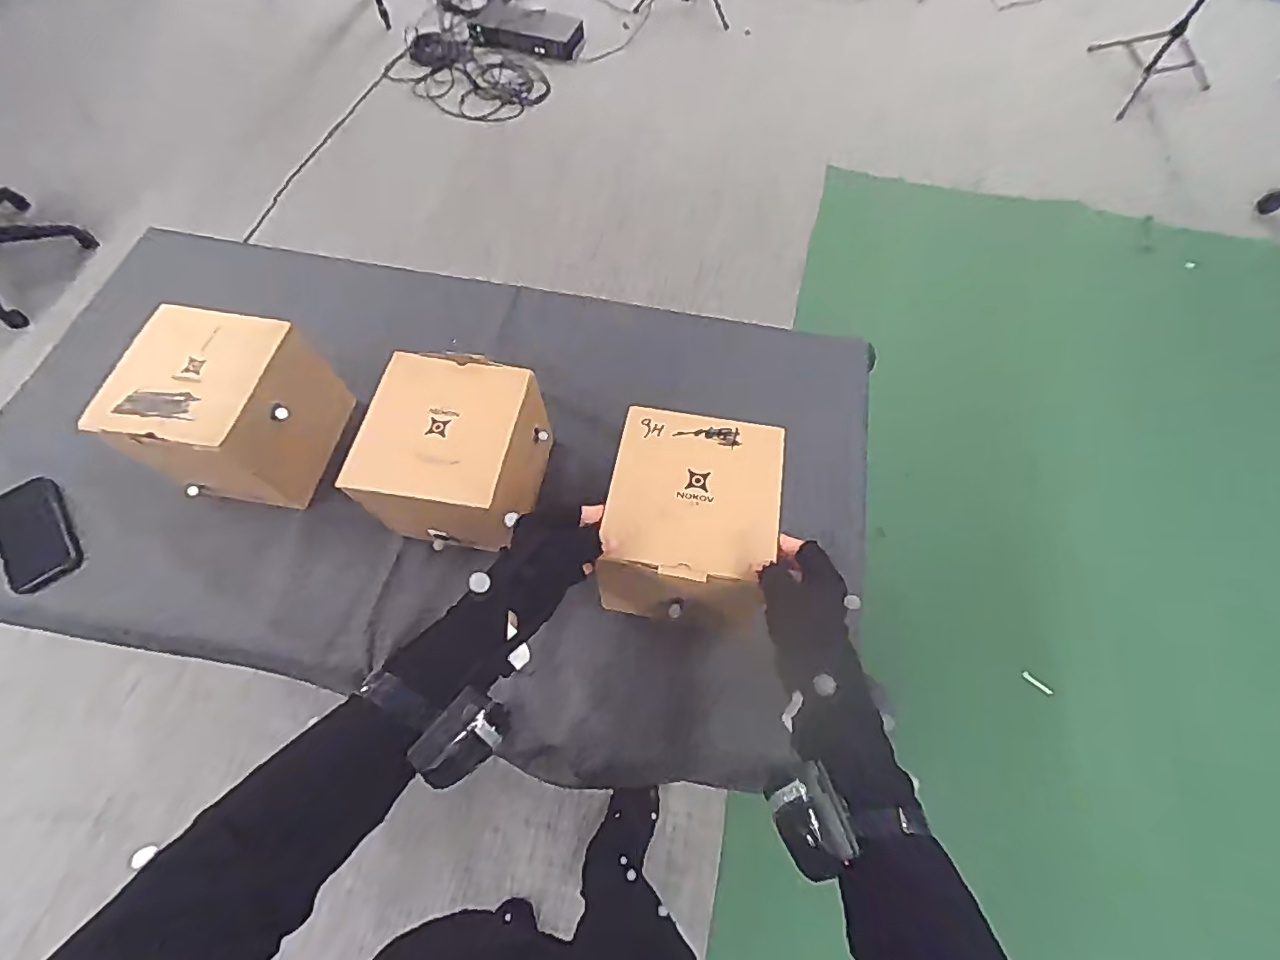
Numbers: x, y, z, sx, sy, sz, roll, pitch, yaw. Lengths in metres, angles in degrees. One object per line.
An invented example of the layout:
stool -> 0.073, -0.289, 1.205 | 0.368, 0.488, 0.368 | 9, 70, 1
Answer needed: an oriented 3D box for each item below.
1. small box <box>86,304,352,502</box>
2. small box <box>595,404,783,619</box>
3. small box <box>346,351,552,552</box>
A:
small box -> -0.501, -0.088, 0.680 | 0.168, 0.176, 0.179 | 9, 65, 3
small box -> 0.054, 0.044, 0.602 | 0.168, 0.176, 0.179 | 9, 63, 5
small box -> -0.212, -0.028, 0.658 | 0.168, 0.176, 0.179 | 7, 67, 5
